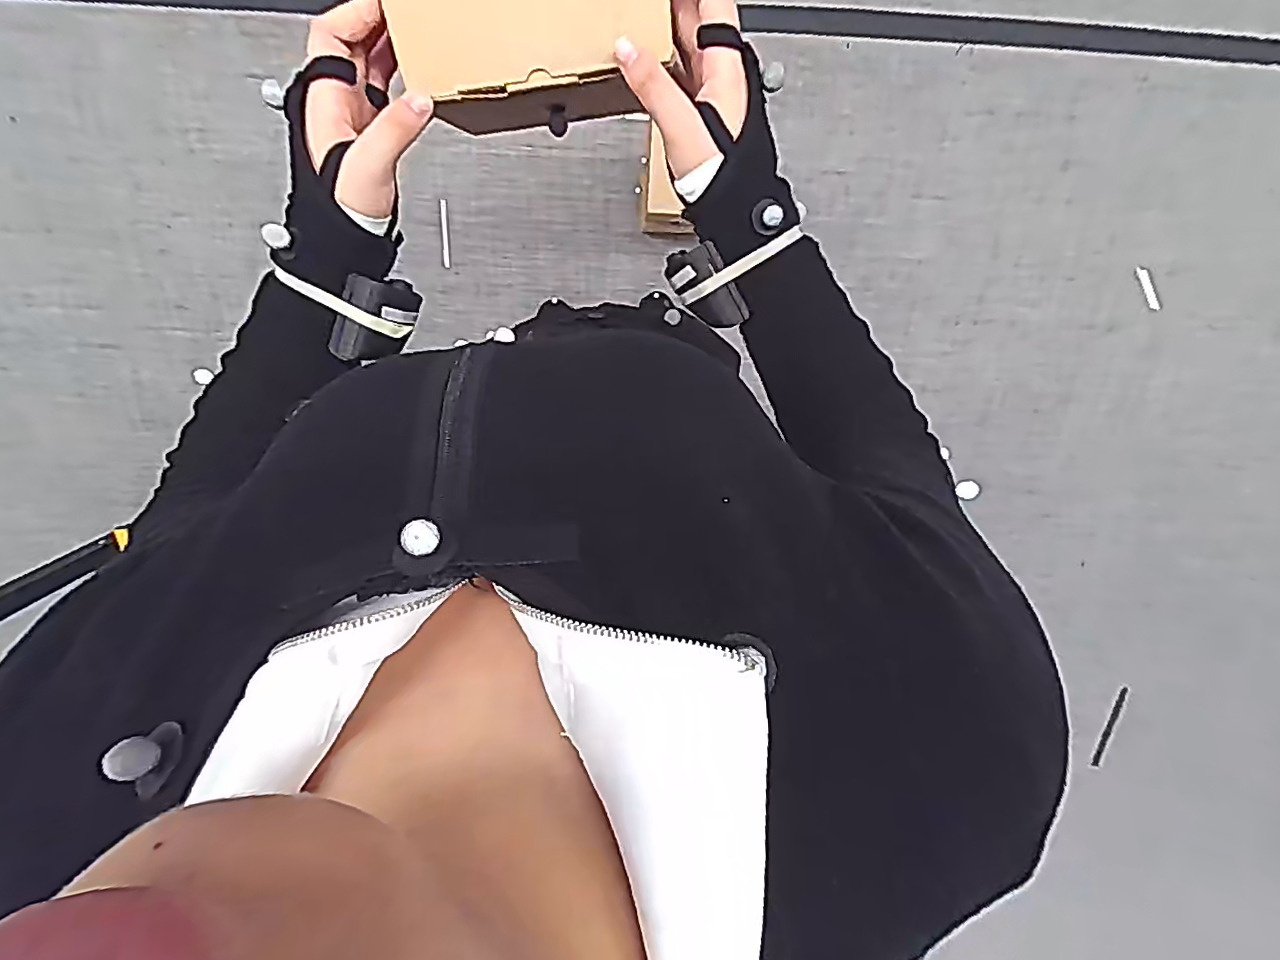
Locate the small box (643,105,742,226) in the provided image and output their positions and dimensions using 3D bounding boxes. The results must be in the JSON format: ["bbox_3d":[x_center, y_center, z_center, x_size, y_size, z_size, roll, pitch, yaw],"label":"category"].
[{"bbox_3d":[0.094,-0.611,1.070,0.168,0.176,0.179,2,112,-3],"label":"small box"}]

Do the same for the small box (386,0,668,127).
[{"bbox_3d":[-0.072,-0.354,0.368,0.168,0.176,0.179,-7,118,1],"label":"small box"}]

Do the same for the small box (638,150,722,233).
[{"bbox_3d":[0.090,-0.658,1.227,0.179,0.176,0.168,1,111,-3],"label":"small box"}]
